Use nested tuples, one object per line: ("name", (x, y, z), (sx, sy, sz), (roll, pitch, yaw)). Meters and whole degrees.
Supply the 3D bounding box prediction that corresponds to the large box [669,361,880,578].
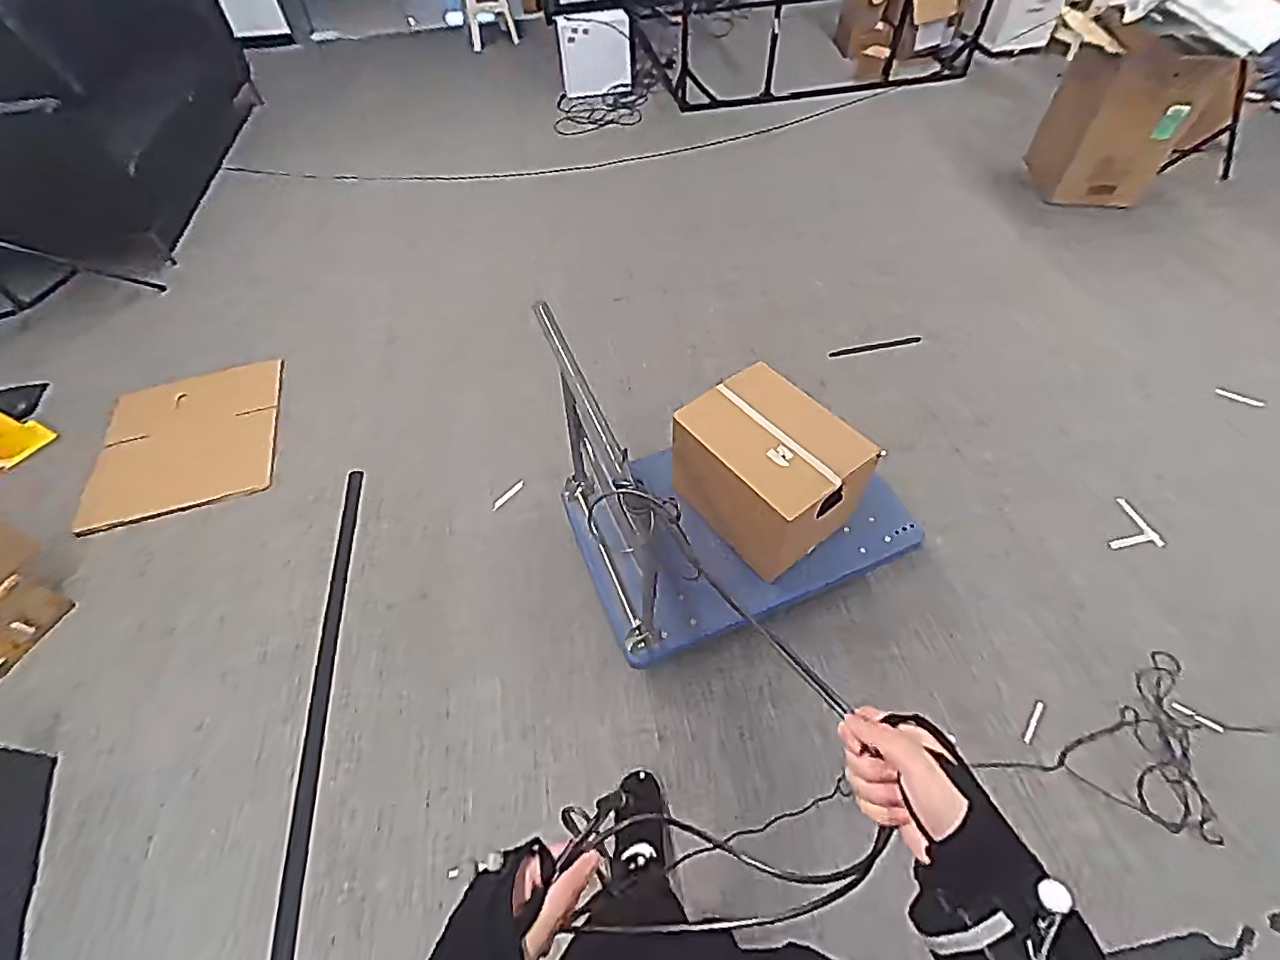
("large box", (0.320, -0.030, 1.410), (0.320, 0.320, 0.408), (-33, 60, -19))
